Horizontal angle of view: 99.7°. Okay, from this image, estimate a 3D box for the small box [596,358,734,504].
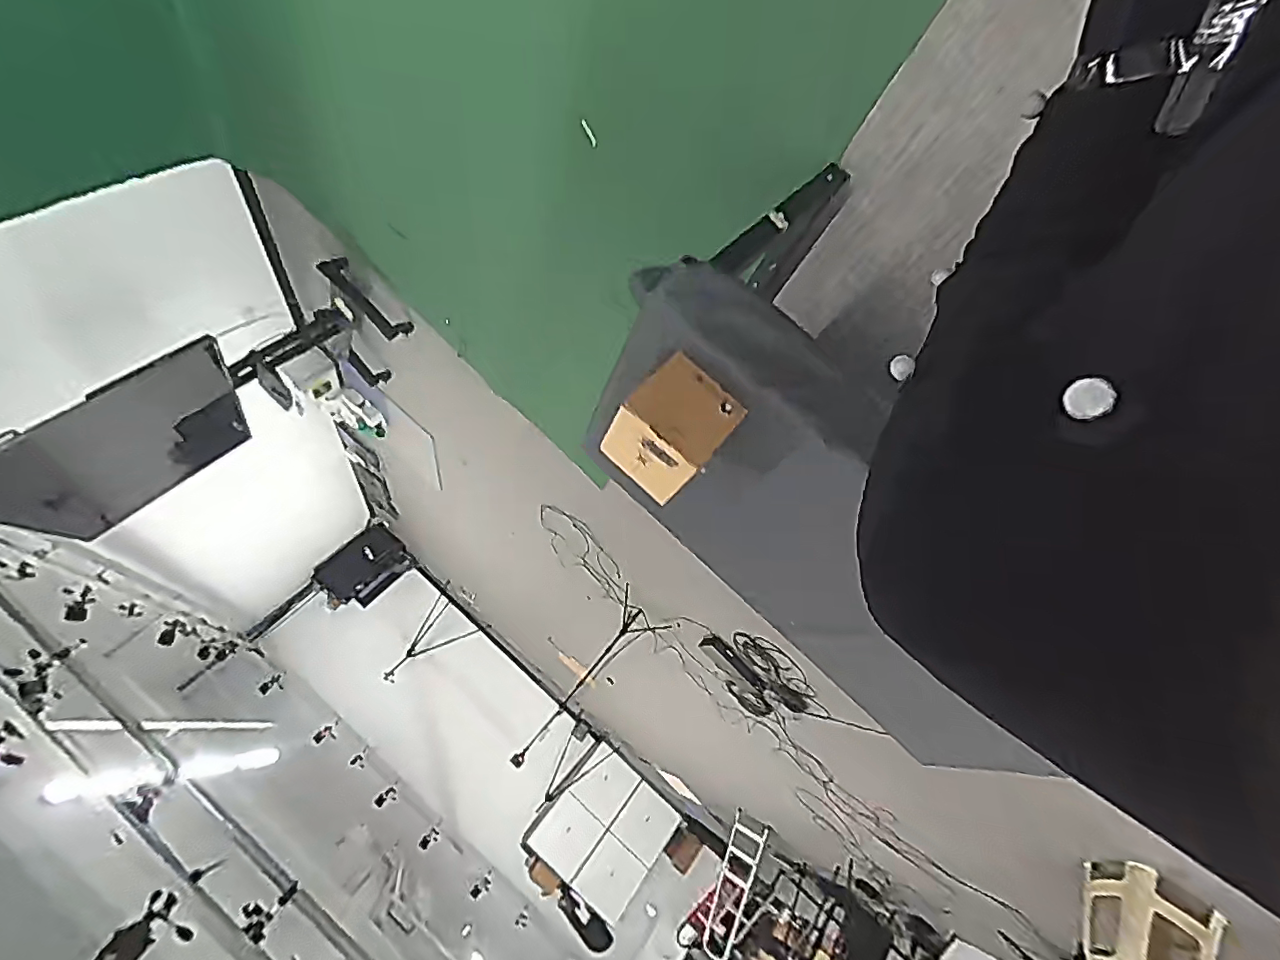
[{"bbox_3d":[0.048,-0.090,0.994,0.168,0.176,0.179,42,152,2],"label":"small box"}]
